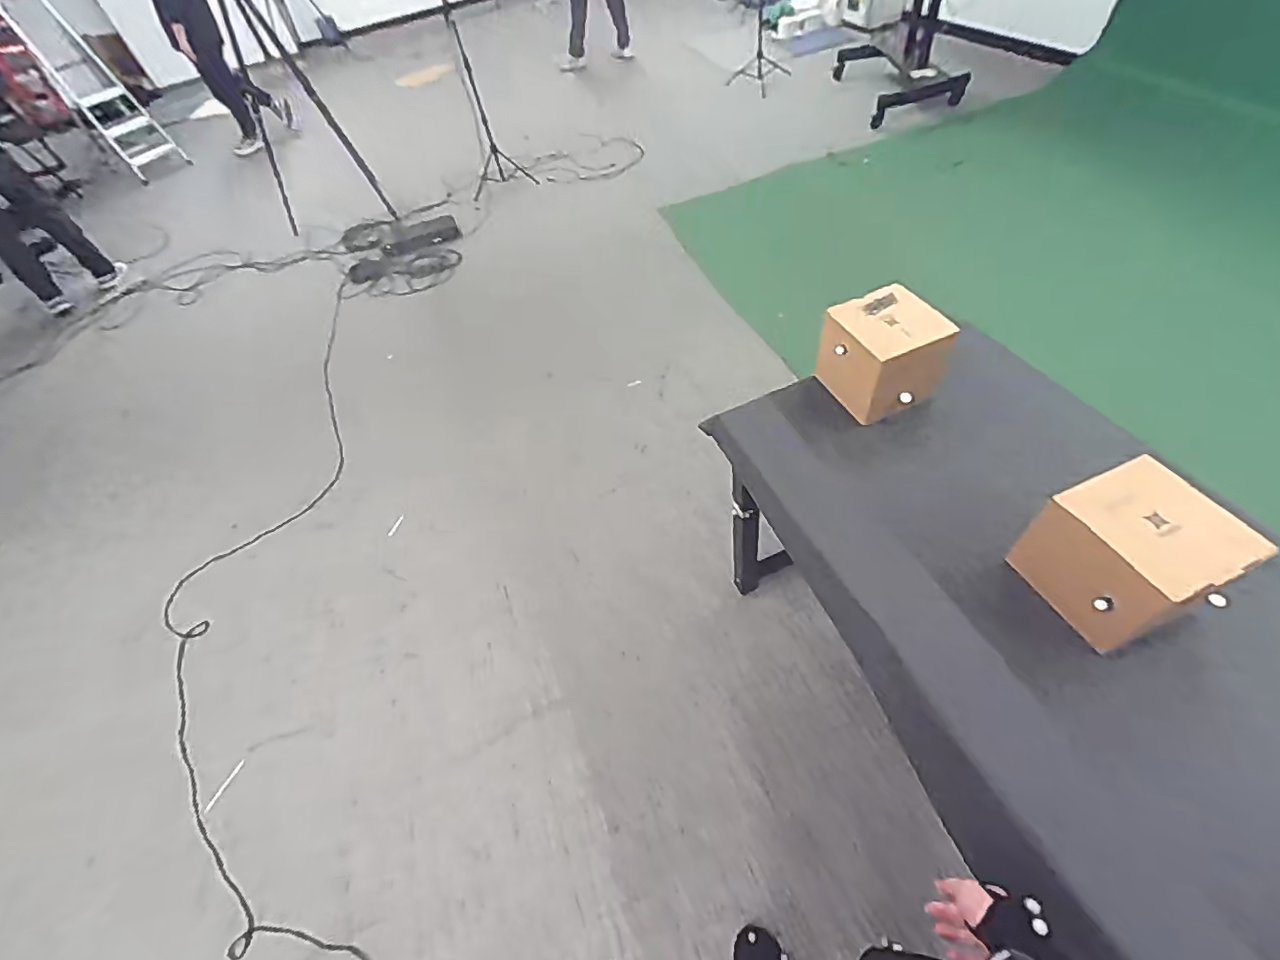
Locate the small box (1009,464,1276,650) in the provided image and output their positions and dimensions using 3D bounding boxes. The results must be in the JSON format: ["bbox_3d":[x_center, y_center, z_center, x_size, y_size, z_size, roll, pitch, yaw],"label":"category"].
[{"bbox_3d":[0.673,0.114,0.753,0.168,0.176,0.179,-21,51,-9],"label":"small box"}]

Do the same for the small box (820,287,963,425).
[{"bbox_3d":[0.473,-0.239,1.054,0.168,0.176,0.179,-21,54,-8],"label":"small box"}]
